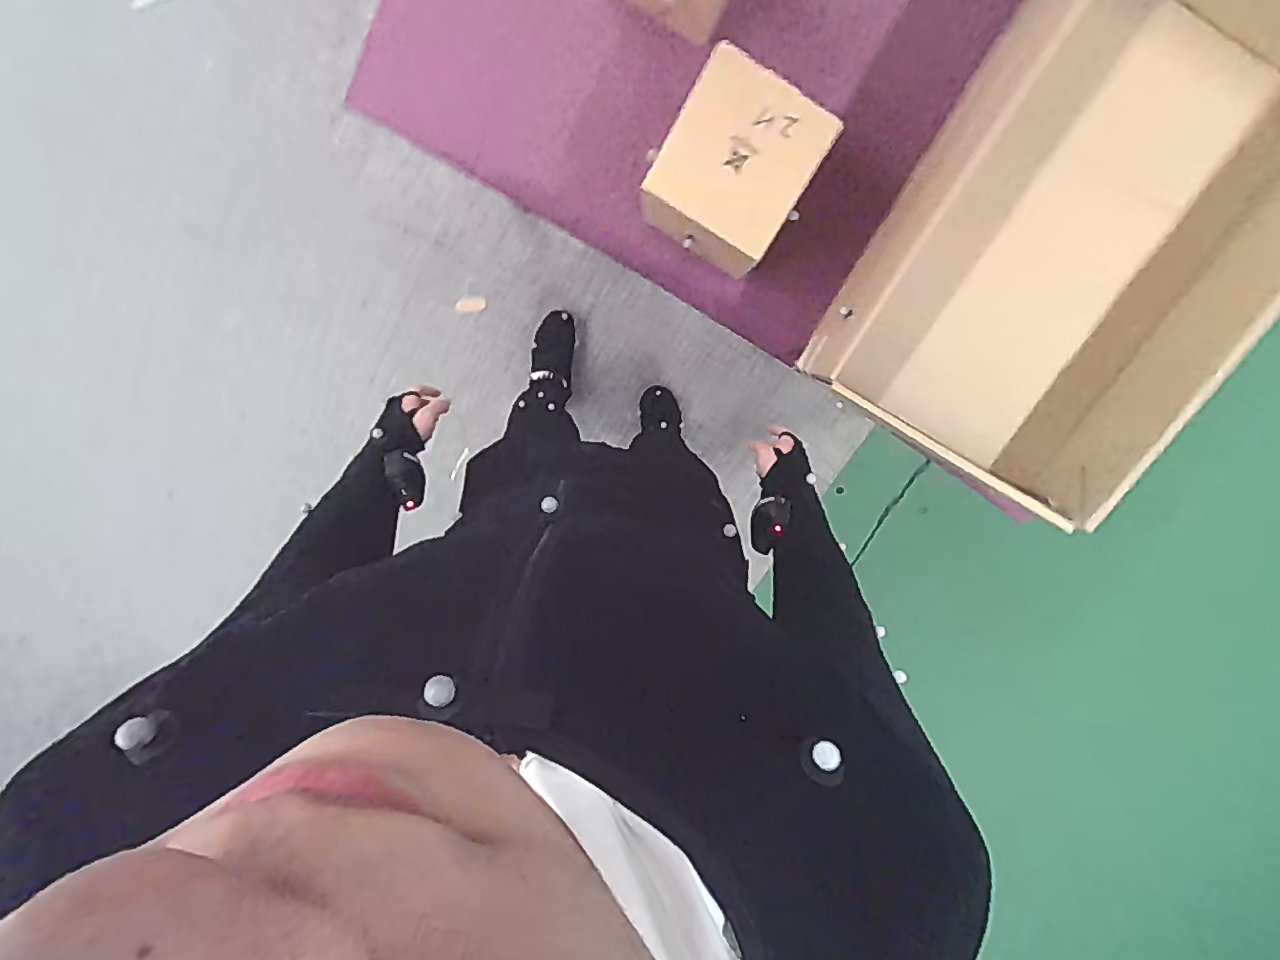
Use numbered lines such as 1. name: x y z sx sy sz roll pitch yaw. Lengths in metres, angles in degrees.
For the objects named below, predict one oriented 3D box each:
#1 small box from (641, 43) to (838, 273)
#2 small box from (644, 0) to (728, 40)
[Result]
1. small box: 0.118 -0.392 0.701 0.168 0.176 0.179 31 103 -6
2. small box: 0.058 -0.680 0.633 0.168 0.176 0.179 30 103 -6
